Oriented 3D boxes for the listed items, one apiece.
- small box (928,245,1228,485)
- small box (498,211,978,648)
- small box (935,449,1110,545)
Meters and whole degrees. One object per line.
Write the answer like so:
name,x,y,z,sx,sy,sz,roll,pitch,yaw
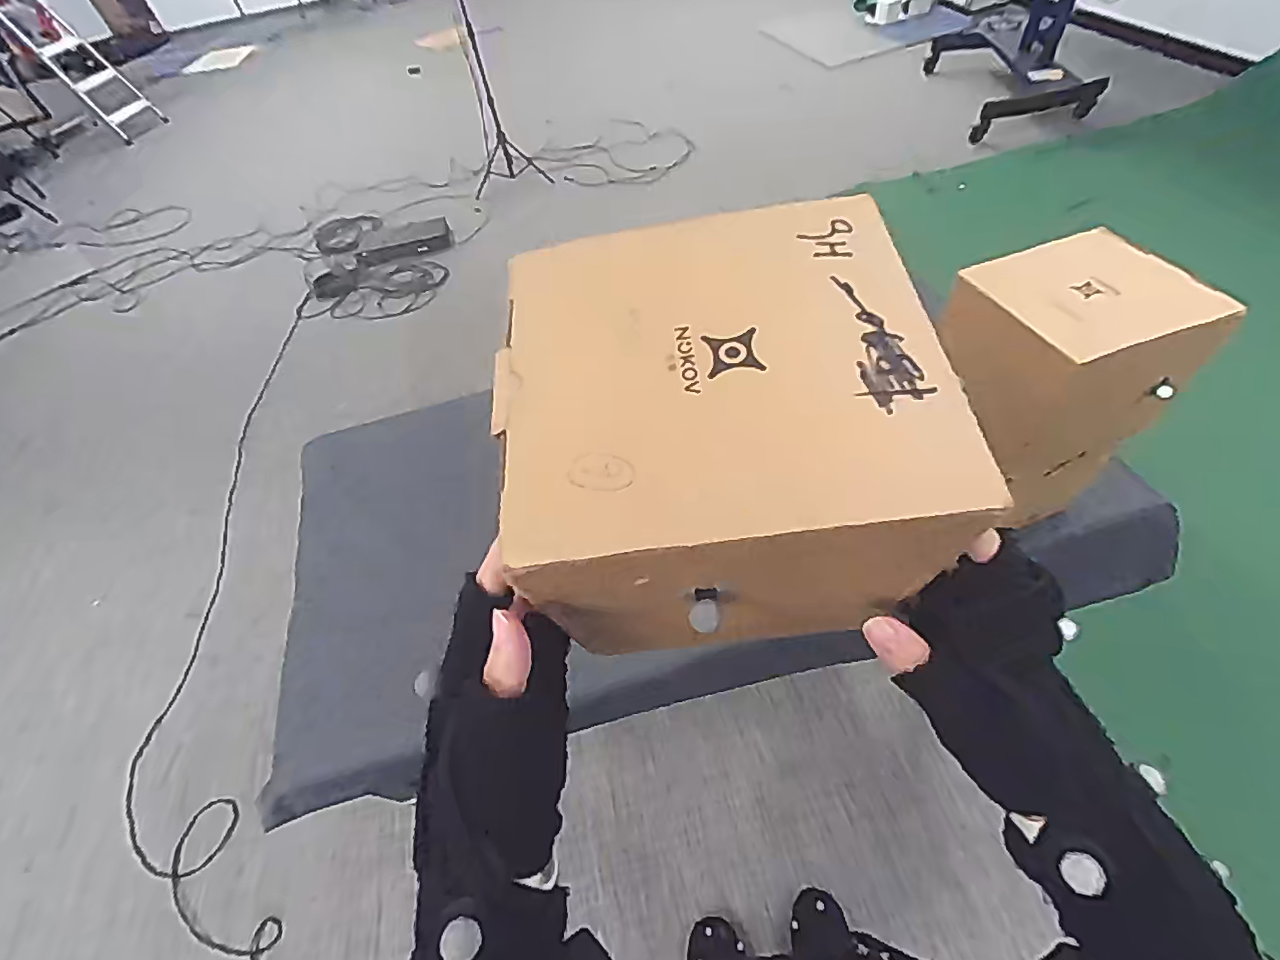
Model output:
small box,0.447,-0.123,0.600,0.179,0.176,0.168,-19,51,-4
small box,0.039,-0.011,0.300,0.179,0.176,0.168,-7,62,5
small box,0.465,-0.032,0.732,0.168,0.176,0.179,-19,52,-6
